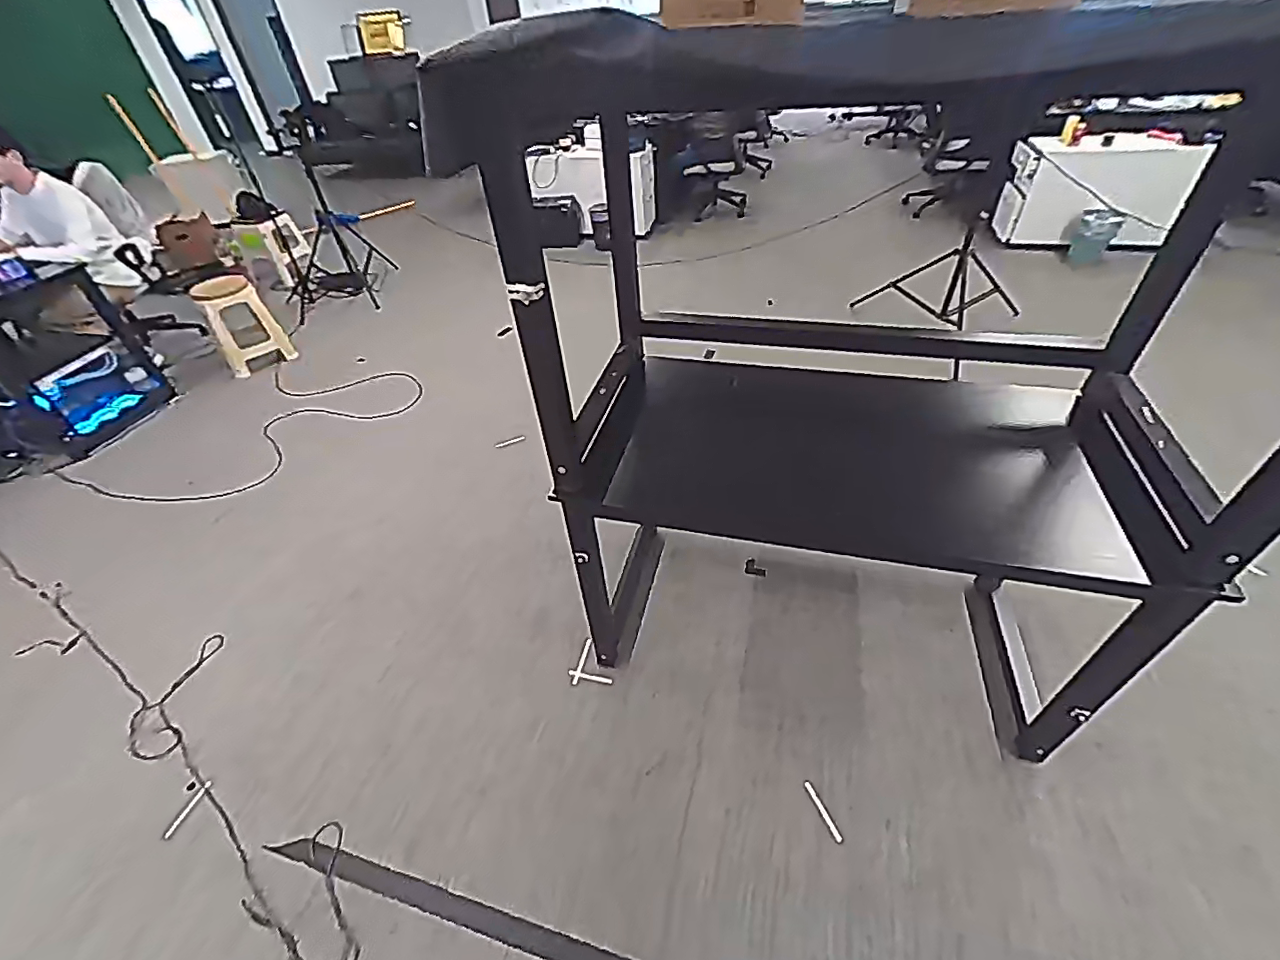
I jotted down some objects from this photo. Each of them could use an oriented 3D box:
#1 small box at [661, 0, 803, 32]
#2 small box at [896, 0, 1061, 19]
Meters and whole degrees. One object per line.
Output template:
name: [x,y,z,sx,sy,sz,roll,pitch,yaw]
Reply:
small box: [0.109,-0.640,0.636,0.168,0.176,0.179,1,41,7]
small box: [0.390,-0.618,0.586,0.168,0.176,0.179,7,41,13]
